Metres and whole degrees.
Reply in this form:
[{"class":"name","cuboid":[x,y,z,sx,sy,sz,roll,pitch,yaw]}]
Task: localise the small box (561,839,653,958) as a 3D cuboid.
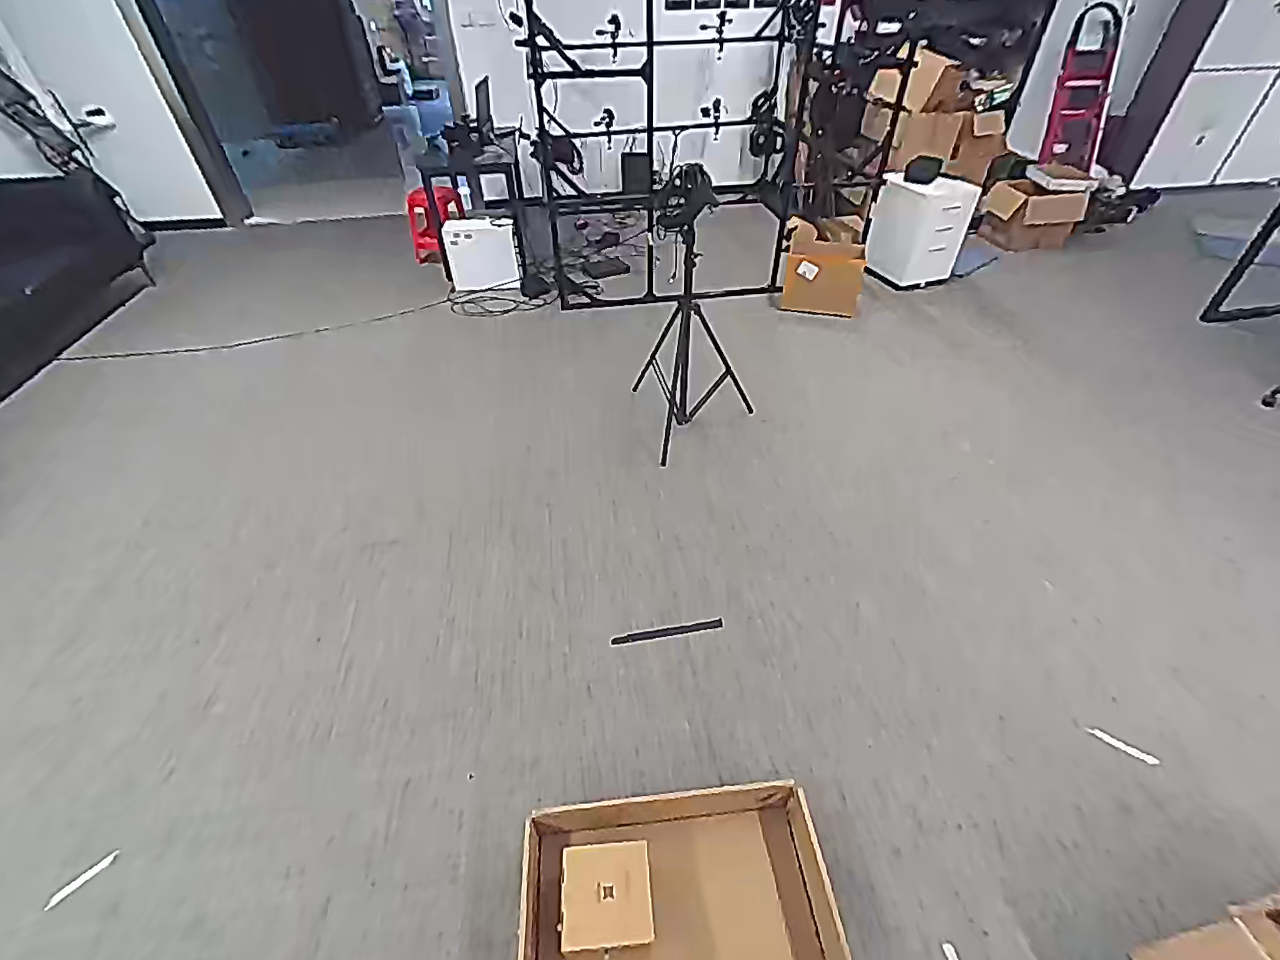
[{"class":"small box","cuboid":[-0.067,0.869,1.121,0.179,0.176,0.168,-3,44,-5]}]
